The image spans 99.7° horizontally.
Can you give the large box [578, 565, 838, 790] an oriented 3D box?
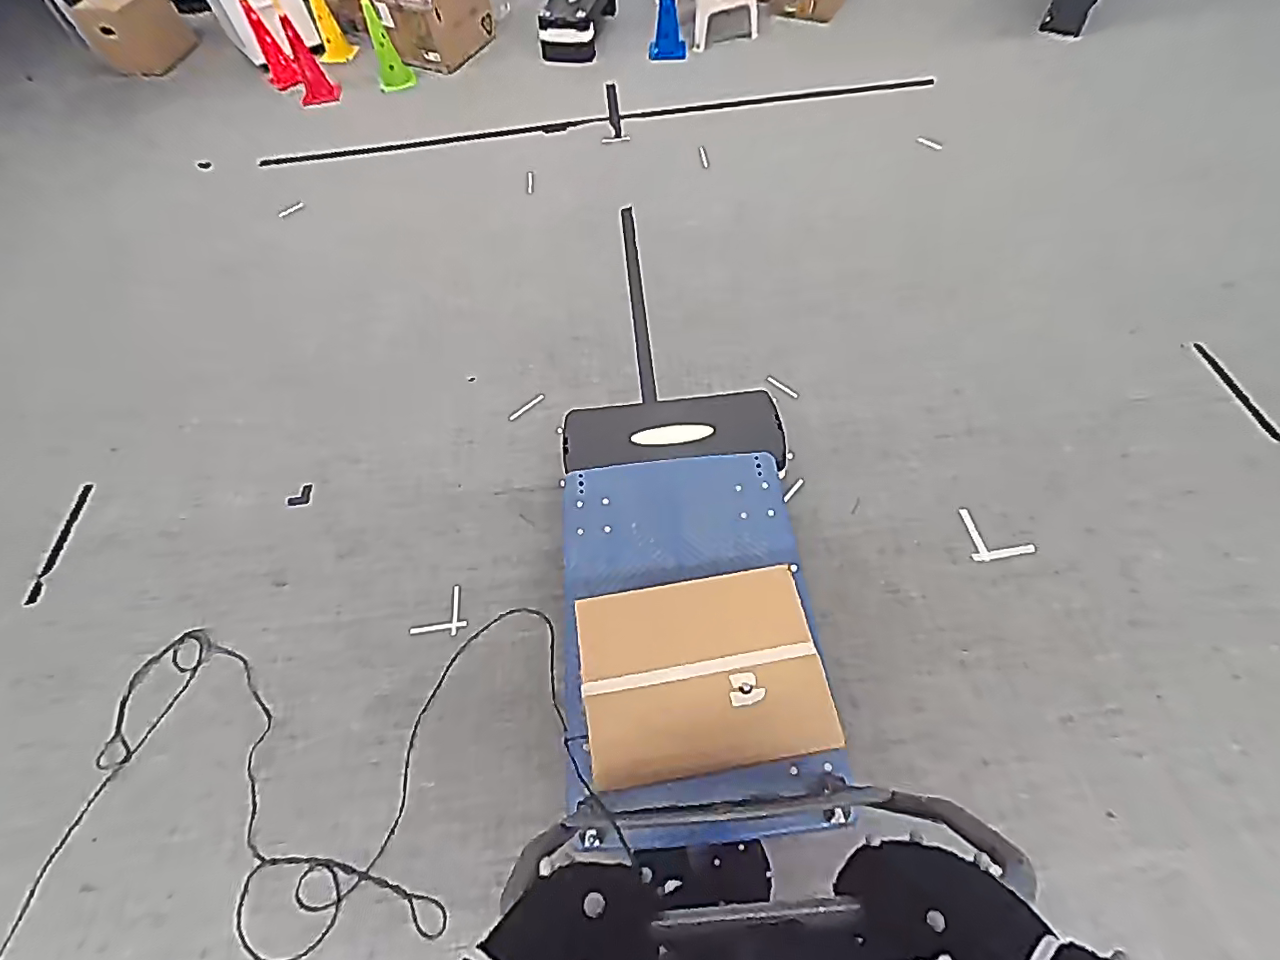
[{"bbox_3d":[0.110,0.401,1.072,0.408,0.320,0.320,-9,61,-3],"label":"large box"}]
